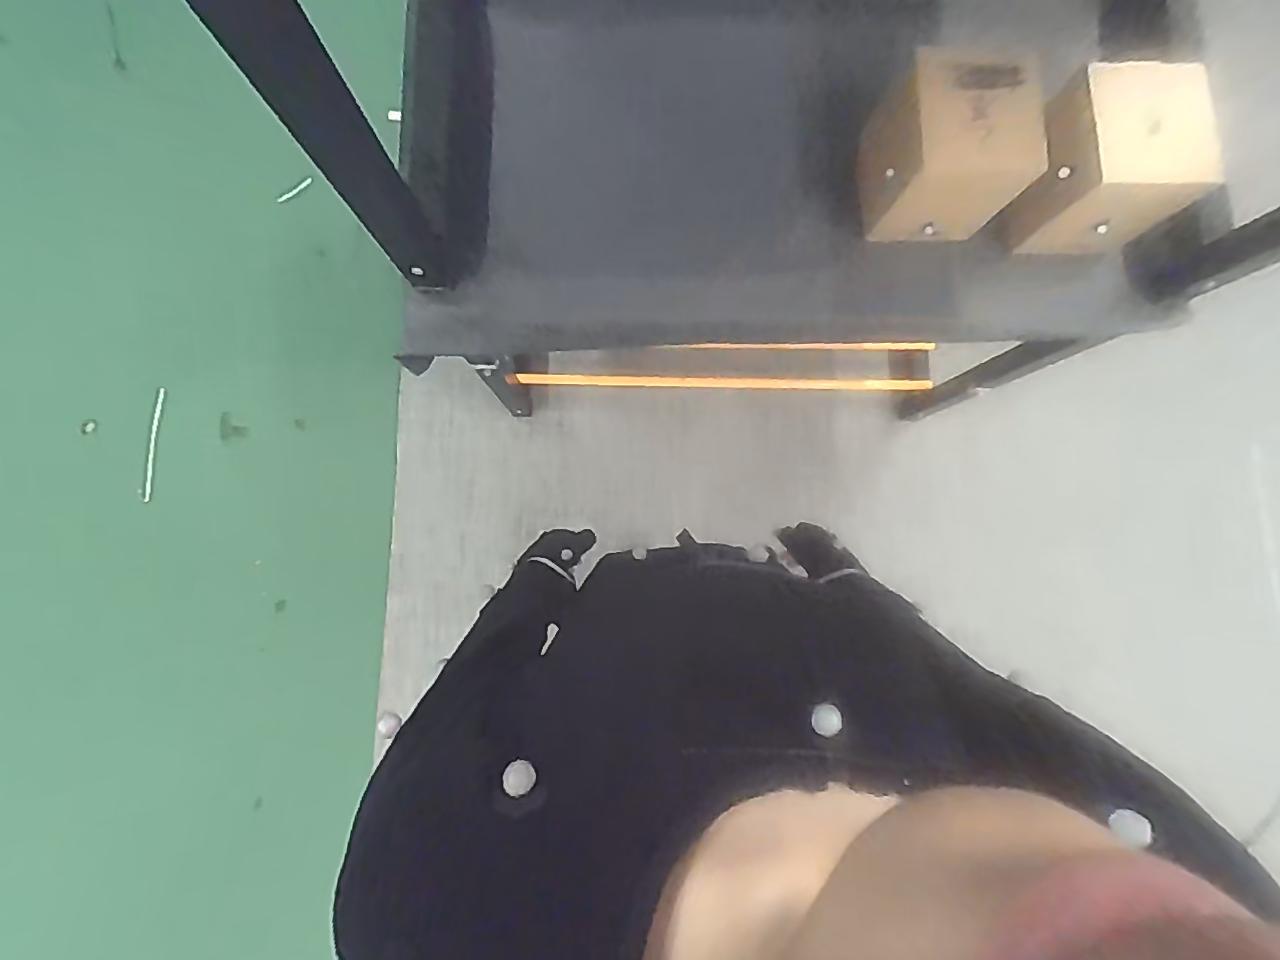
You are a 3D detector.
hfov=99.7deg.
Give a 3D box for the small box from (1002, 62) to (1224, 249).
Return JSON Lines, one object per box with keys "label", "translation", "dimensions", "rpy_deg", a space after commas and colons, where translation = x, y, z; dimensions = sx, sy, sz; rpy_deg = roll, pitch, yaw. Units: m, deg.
{"label": "small box", "translation": [0.664, -0.455, 0.781], "dimensions": [0.168, 0.176, 0.179], "rpy_deg": [-1, 82, -2]}
